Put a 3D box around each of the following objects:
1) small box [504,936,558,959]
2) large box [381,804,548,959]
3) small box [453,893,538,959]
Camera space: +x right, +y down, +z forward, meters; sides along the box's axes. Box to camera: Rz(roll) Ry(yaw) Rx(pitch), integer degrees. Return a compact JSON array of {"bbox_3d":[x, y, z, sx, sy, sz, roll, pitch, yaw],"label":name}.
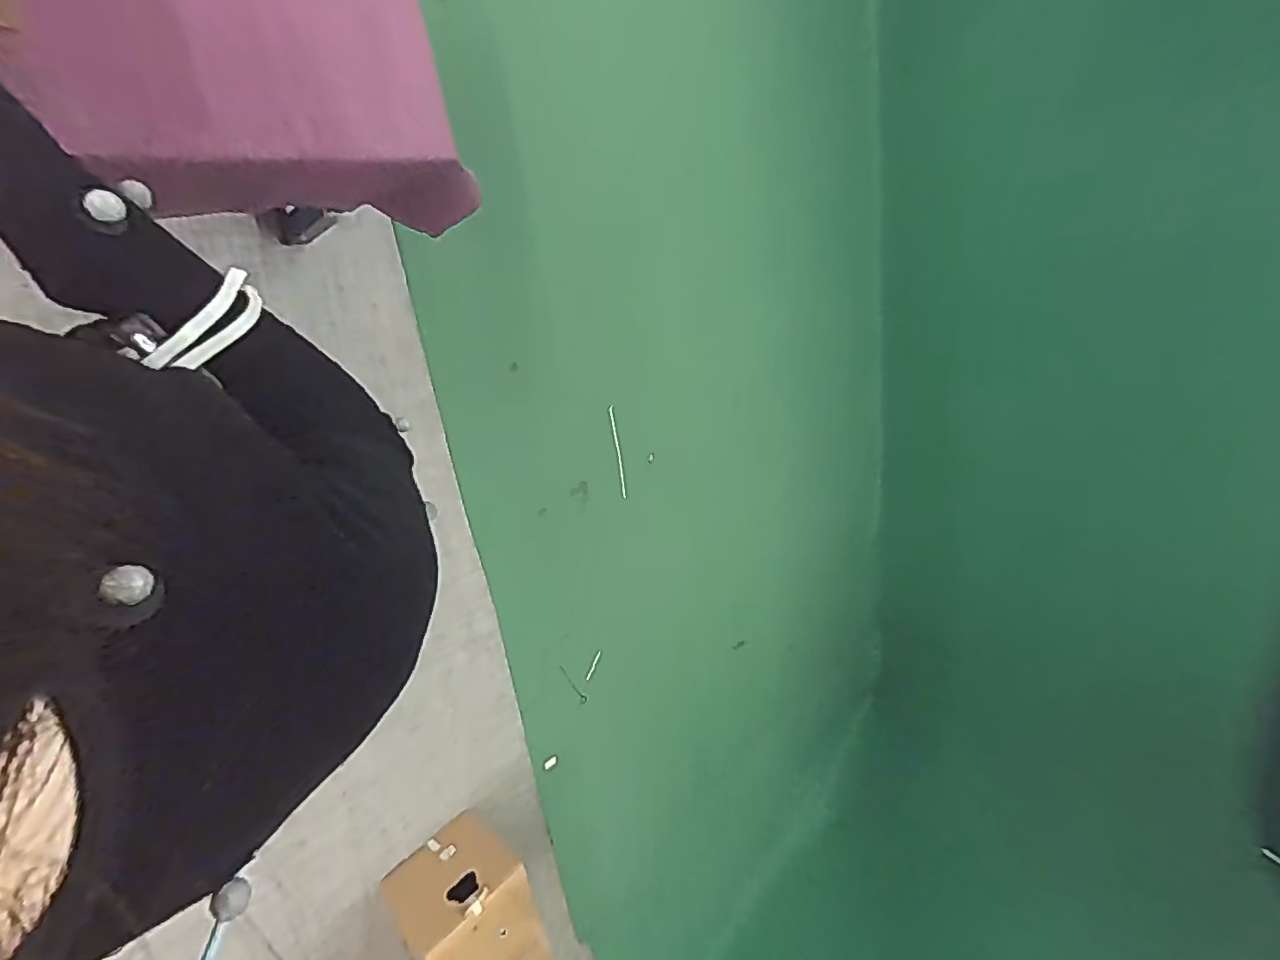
[{"bbox_3d":[-0.274,1.302,1.351,0.168,0.176,0.179,-24,114,-40],"label":"small box"},{"bbox_3d":[-0.537,1.328,1.675,0.320,0.320,0.408,-26,116,-40],"label":"large box"},{"bbox_3d":[-0.385,1.281,1.471,0.168,0.176,0.179,-24,115,-41],"label":"small box"}]
